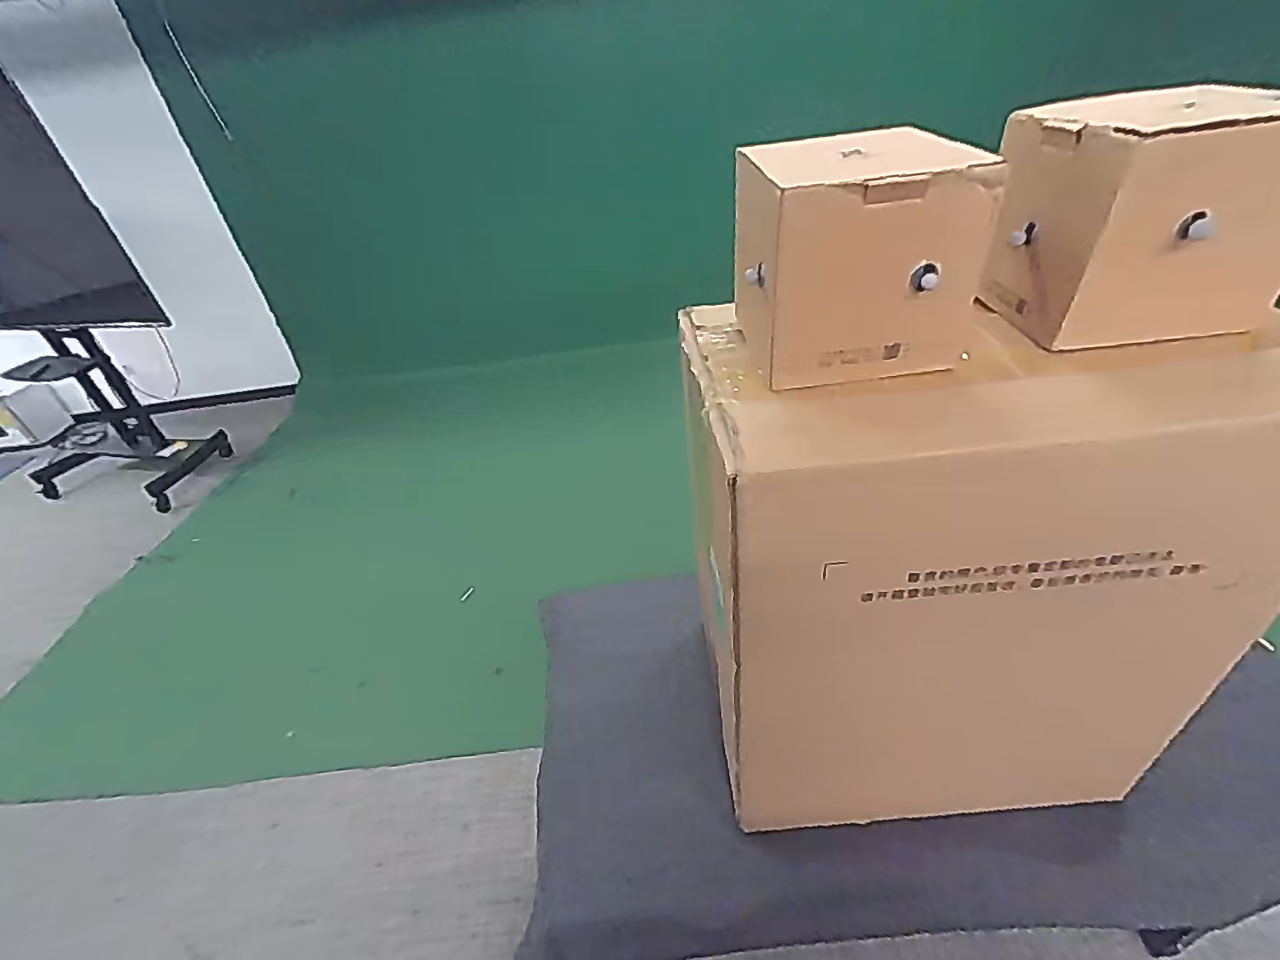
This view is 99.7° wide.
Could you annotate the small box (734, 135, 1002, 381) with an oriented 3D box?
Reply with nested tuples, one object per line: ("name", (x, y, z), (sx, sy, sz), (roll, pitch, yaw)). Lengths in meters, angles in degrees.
("small box", (0.183, -0.201, 0.499), (0.168, 0.176, 0.179), (-6, 38, 1))

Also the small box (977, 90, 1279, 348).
("small box", (0.438, -0.233, 0.489), (0.179, 0.176, 0.168), (-7, 39, 4))
